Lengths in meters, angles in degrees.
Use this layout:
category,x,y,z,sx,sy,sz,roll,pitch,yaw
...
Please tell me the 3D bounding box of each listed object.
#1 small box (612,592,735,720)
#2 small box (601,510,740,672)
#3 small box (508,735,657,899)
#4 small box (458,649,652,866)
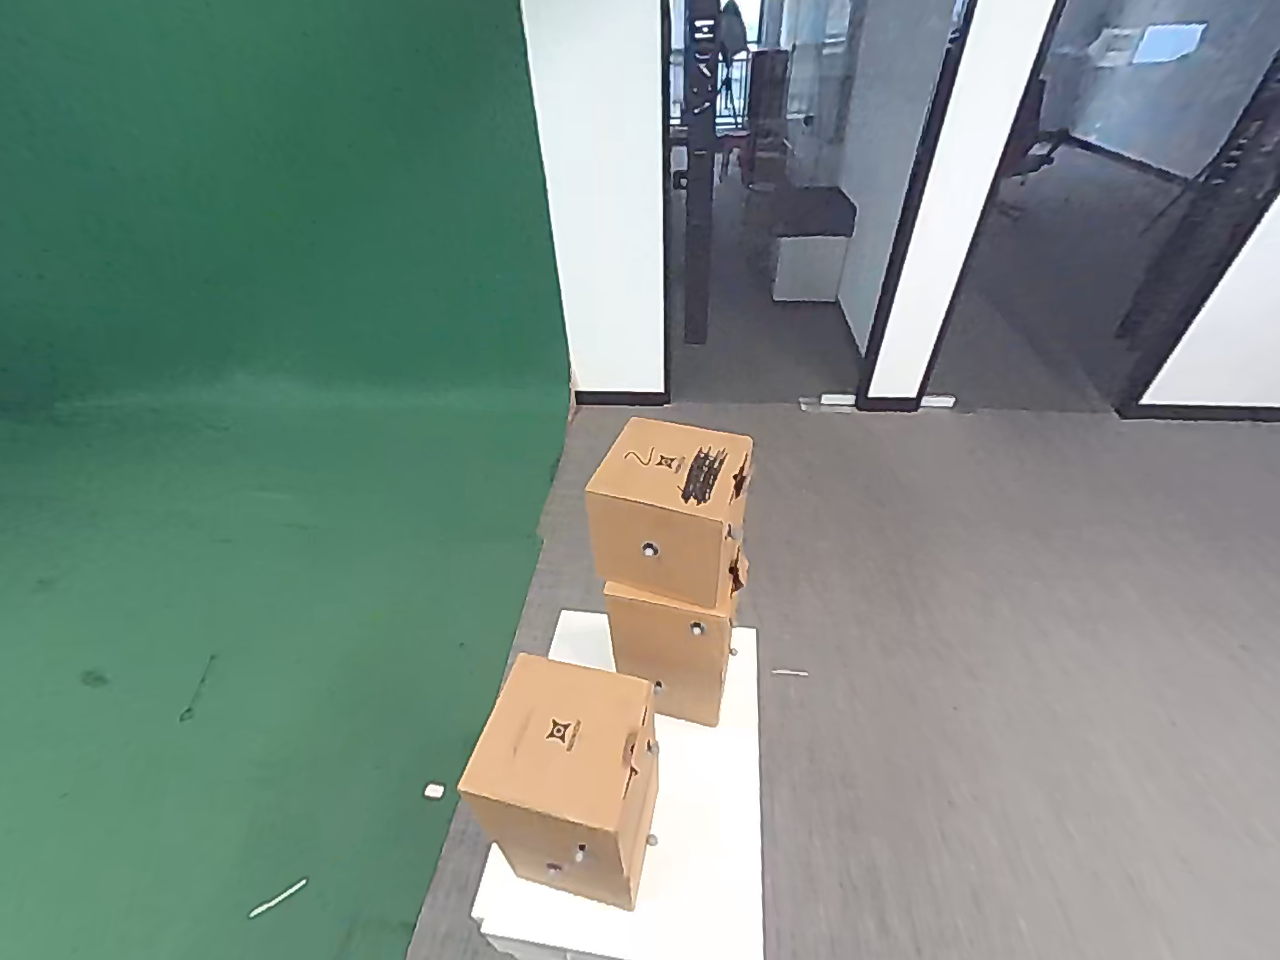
category,x,y,z,sx,sy,sz,roll,pitch,yaw
small box,0.062,0.292,0.946,0.179,0.176,0.168,9,42,13
small box,0.052,0.172,0.837,0.179,0.176,0.168,9,43,12
small box,-0.078,0.457,0.763,0.179,0.176,0.168,9,42,11
small box,-0.086,0.336,0.655,0.179,0.176,0.168,7,40,12
